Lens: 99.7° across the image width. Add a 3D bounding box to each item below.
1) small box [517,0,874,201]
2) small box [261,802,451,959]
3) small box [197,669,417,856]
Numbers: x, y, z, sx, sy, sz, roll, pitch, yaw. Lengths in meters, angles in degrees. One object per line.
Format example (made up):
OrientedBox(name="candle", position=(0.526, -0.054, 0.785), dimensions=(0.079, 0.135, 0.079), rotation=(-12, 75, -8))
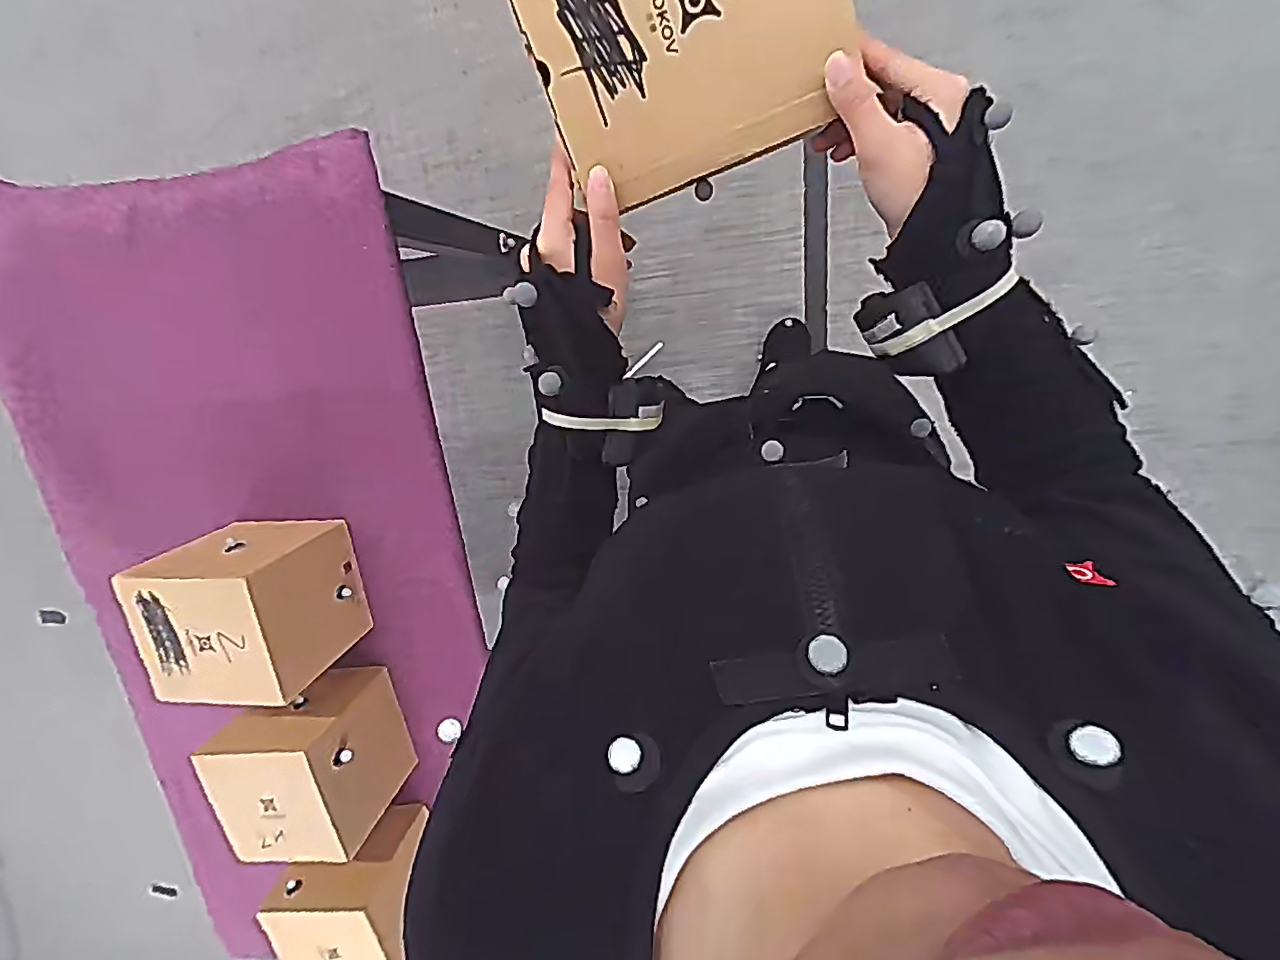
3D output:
OrientedBox(name="small box", position=(0.029, -0.300, 0.360), dimensions=(0.179, 0.176, 0.168), rotation=(-17, 115, 12))
OrientedBox(name="small box", position=(-0.412, 0.623, 0.824), dimensions=(0.179, 0.176, 0.168), rotation=(-10, 105, 12))
OrientedBox(name="small box", position=(-0.443, 0.379, 0.750), dimensions=(0.168, 0.176, 0.179), rotation=(-7, 106, 11))
